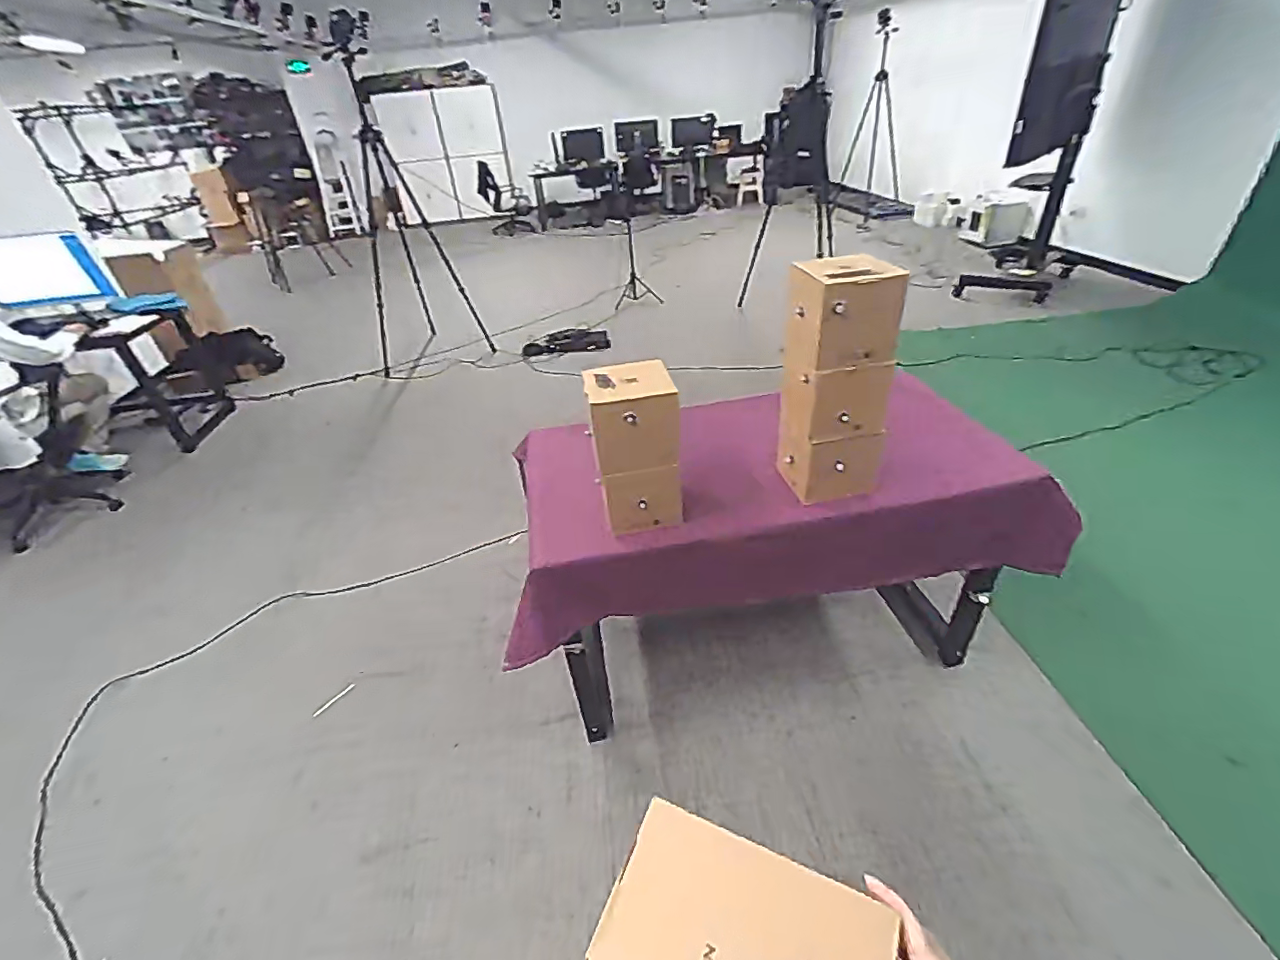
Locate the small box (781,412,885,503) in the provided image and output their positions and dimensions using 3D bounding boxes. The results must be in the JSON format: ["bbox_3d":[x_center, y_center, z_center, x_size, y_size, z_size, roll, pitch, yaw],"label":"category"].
[{"bbox_3d":[0.441,-0.064,1.264,0.179,0.176,0.168,-11,35,-5],"label":"small box"}]

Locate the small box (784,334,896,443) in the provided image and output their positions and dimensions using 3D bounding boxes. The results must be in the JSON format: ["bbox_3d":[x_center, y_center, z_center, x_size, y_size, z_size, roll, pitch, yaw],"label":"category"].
[{"bbox_3d":[0.422,-0.200,1.176,0.168,0.176,0.179,-9,35,-4],"label":"small box"}]

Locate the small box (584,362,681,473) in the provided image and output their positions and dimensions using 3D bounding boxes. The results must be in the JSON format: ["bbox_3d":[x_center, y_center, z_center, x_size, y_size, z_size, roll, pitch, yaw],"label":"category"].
[{"bbox_3d":[-0.016,-0.130,1.141,0.179,0.176,0.168,-9,35,-5],"label":"small box"}]

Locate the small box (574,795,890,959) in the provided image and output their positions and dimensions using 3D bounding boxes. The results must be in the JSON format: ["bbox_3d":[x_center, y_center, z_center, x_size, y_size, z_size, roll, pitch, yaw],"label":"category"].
[{"bbox_3d":[0.062,0.365,0.374,0.179,0.176,0.168,9,45,28],"label":"small box"}]

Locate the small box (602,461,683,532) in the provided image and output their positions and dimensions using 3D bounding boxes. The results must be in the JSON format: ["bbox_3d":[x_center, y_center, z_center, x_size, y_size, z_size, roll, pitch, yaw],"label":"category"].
[{"bbox_3d":[0.000,0.004,1.236,0.168,0.176,0.179,-9,35,-5],"label":"small box"}]
